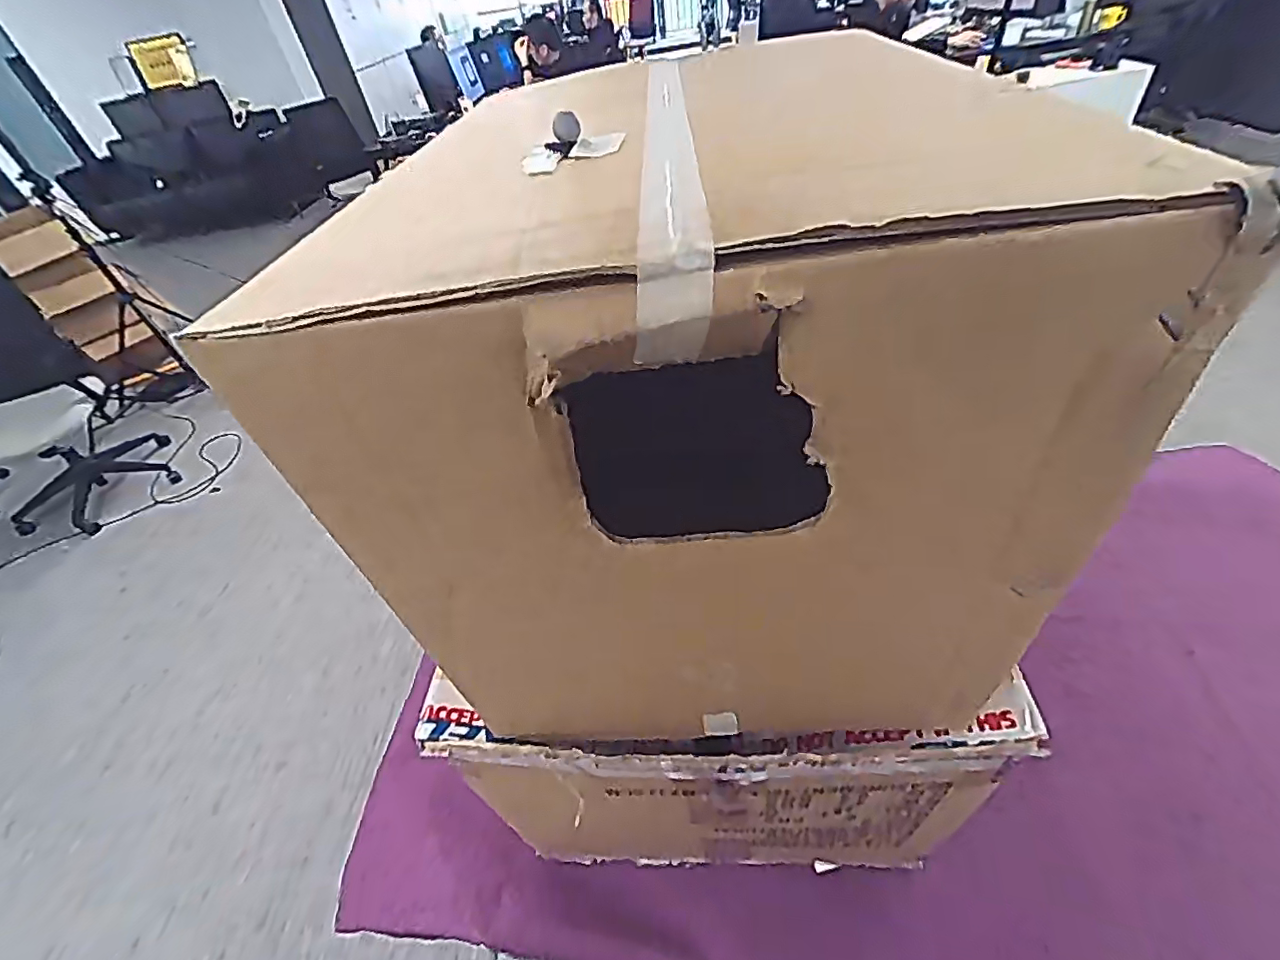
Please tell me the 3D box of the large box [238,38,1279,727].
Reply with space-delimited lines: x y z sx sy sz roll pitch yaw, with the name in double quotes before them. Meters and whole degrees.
"large box" 0.043 -0.085 0.397 0.320 0.320 0.408 -6 43 7
